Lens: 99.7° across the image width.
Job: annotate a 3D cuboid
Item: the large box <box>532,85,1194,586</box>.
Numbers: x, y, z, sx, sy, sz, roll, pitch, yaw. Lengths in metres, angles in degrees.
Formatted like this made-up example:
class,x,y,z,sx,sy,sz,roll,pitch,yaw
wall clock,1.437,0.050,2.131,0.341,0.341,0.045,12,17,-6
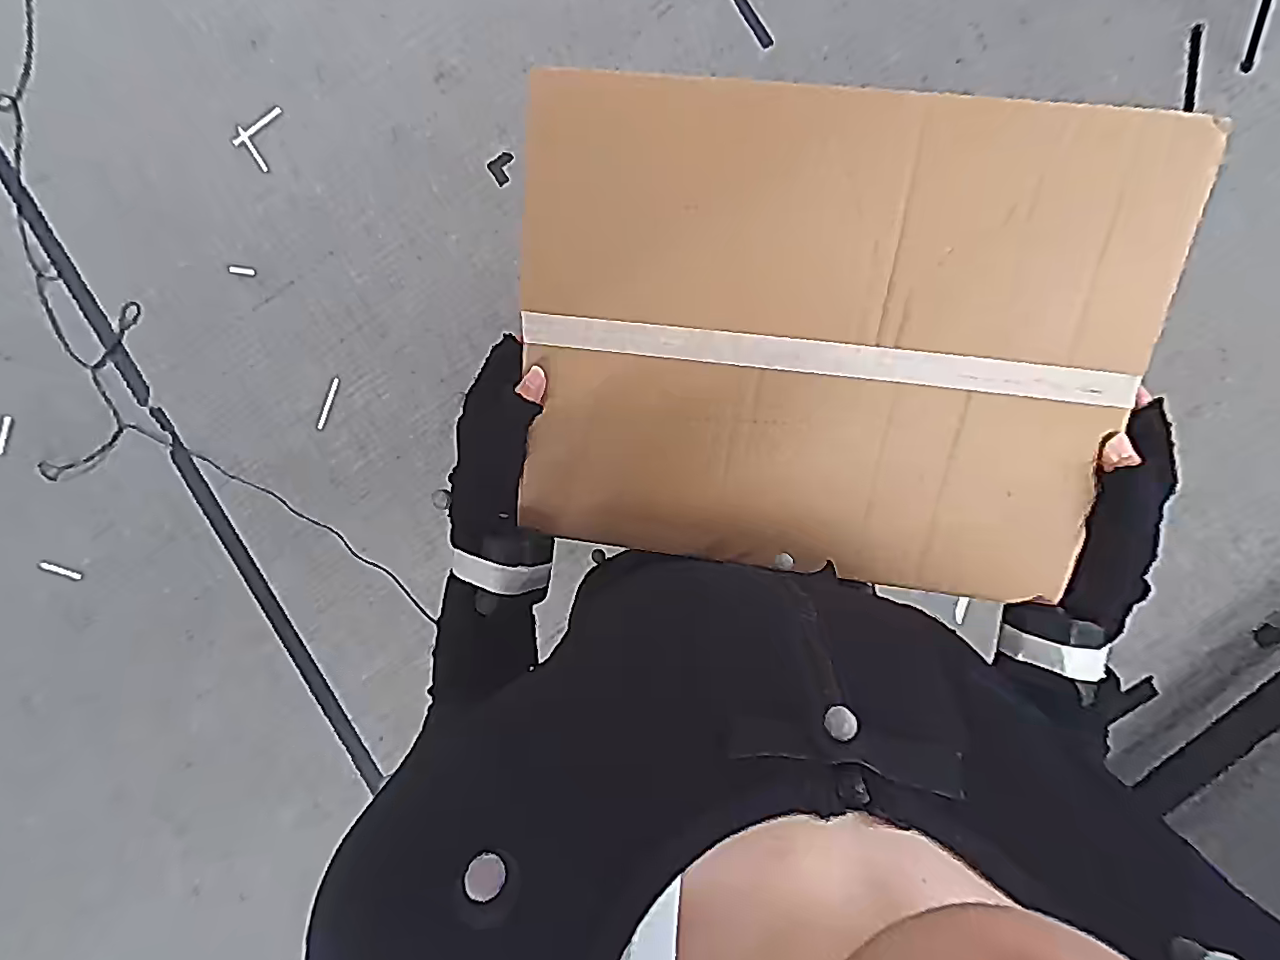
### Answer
class,x,y,z,sx,sy,sz,roll,pitch,yaw
large box,0.135,-0.129,0.521,0.408,0.320,0.320,8,108,4
